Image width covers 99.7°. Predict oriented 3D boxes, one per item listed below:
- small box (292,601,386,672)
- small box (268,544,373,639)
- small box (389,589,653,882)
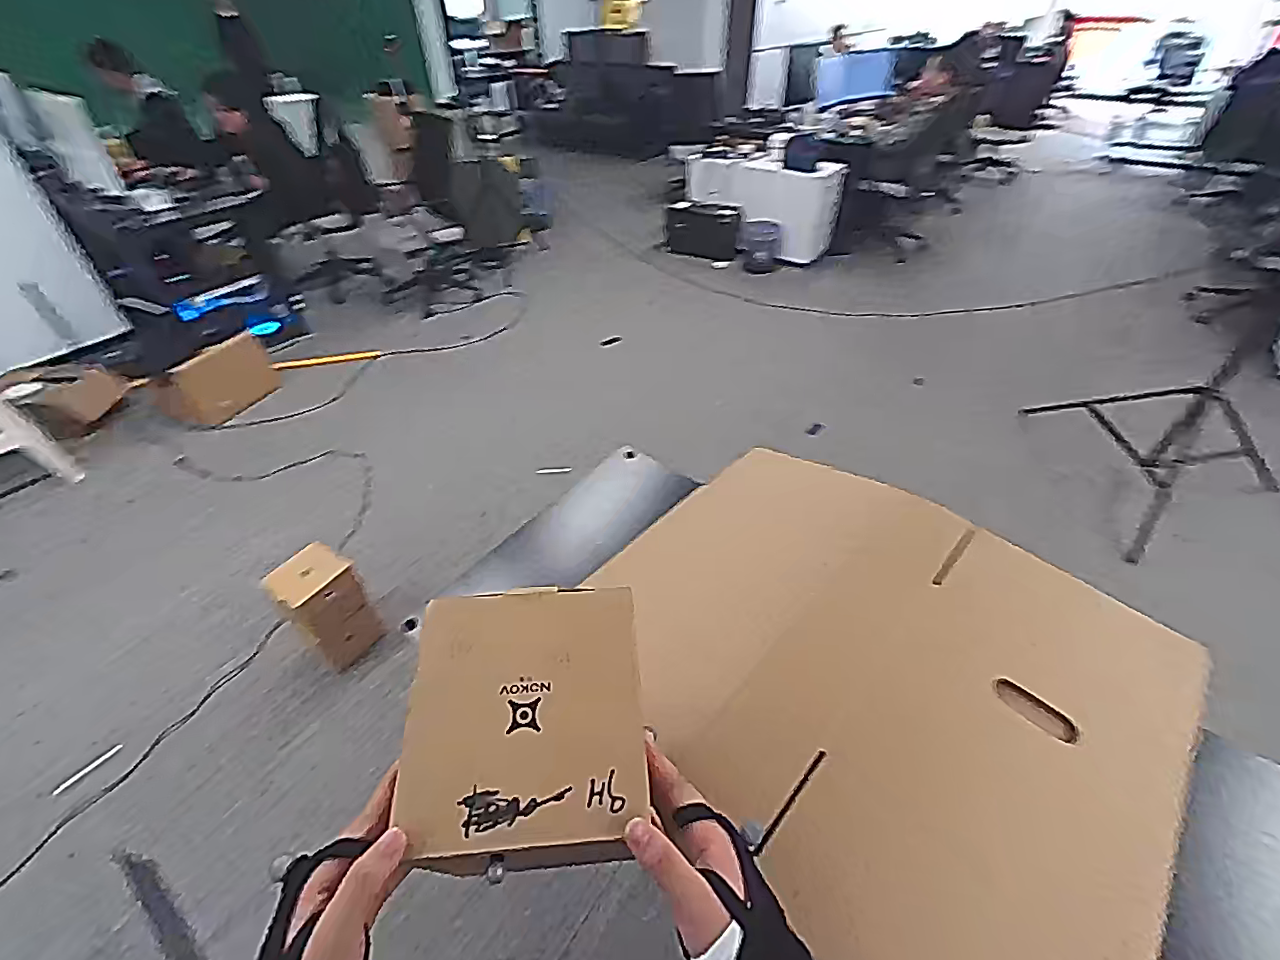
[{"bbox_3d":[-0.910,0.448,1.659,0.168,0.176,0.179,24,48,25],"label":"small box"},{"bbox_3d":[-0.909,0.324,1.555,0.168,0.176,0.179,22,45,22],"label":"small box"},{"bbox_3d":[-0.082,0.212,0.449,0.168,0.176,0.179,-4,51,-4],"label":"small box"}]
